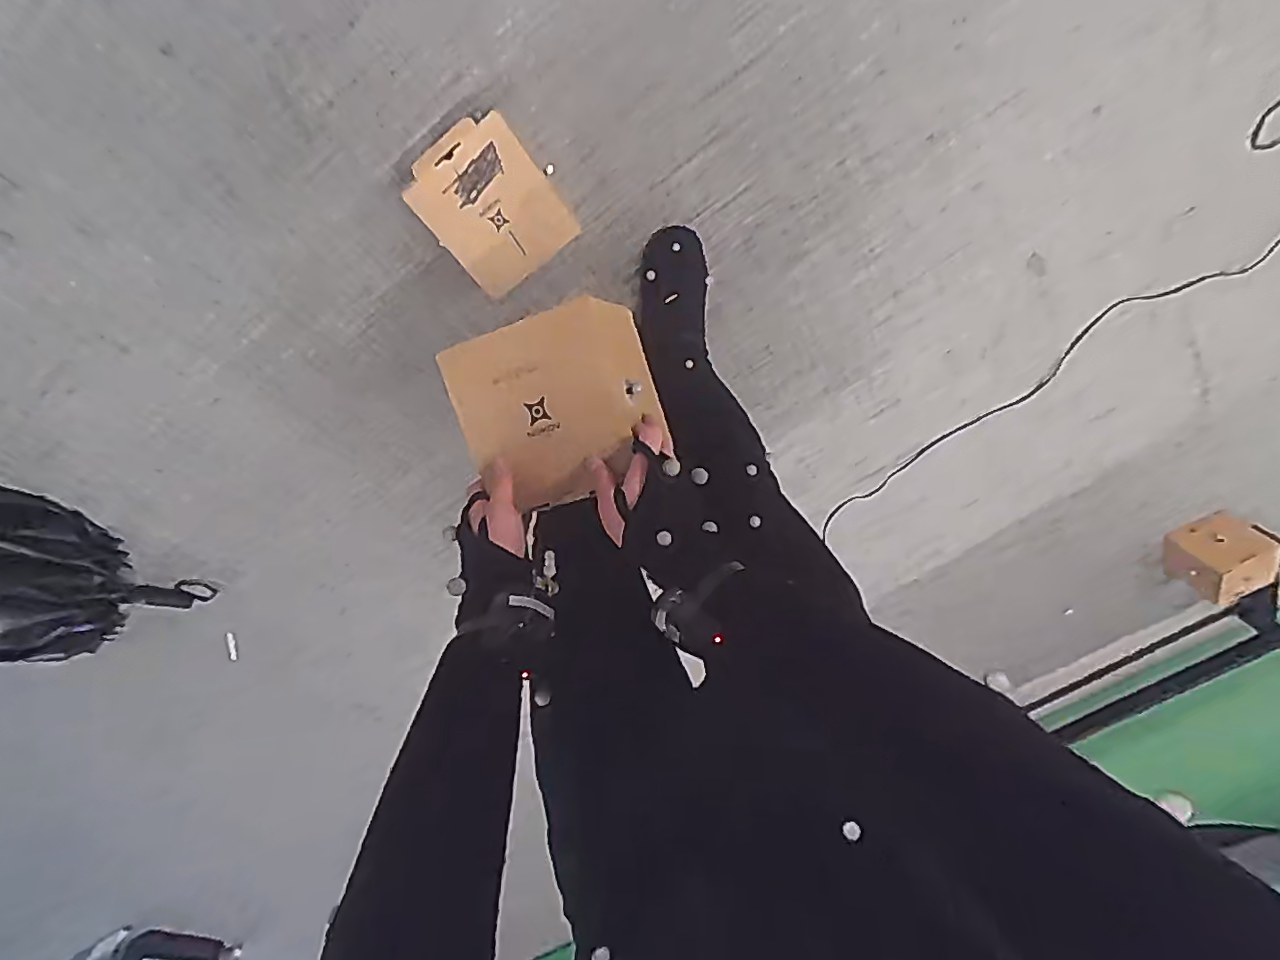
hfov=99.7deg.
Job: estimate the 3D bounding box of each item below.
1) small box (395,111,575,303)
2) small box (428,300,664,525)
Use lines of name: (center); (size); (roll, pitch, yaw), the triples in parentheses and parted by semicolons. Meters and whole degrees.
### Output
small box: (-0.216, -0.395, 0.785); (0.168, 0.176, 0.179); (-34, 124, 12)
small box: (-0.083, -0.074, 0.578); (0.168, 0.176, 0.179); (-17, 98, 15)
